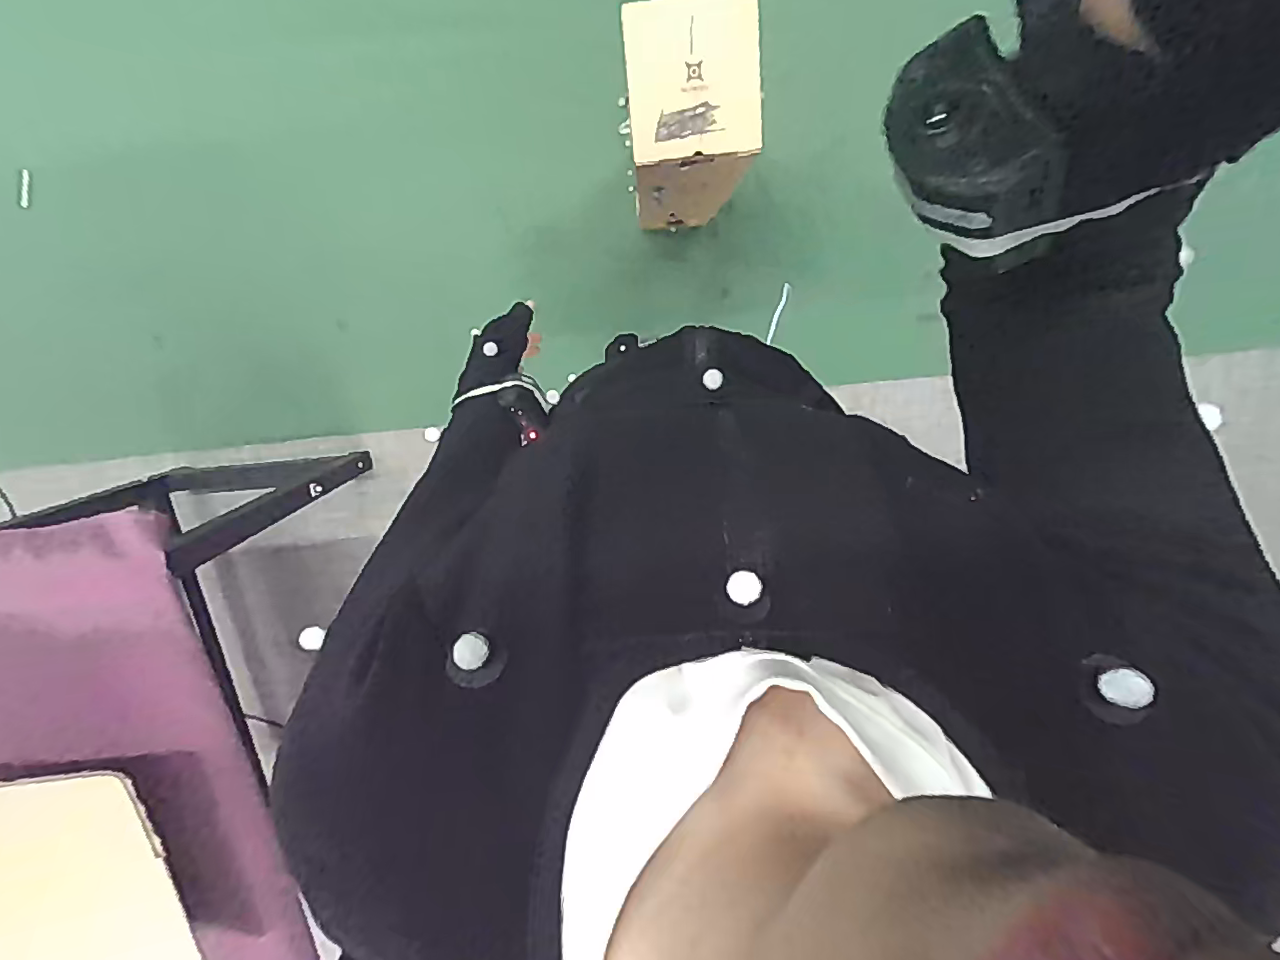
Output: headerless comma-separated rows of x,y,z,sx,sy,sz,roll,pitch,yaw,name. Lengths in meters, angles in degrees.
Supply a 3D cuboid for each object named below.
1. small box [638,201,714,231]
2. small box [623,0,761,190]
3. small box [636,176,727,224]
0.077,-0.673,1.216,0.168,0.176,0.179,-3,107,3,small box
0.069,-0.516,0.749,0.168,0.176,0.179,-5,106,2,small box
0.075,-0.619,1.062,0.168,0.176,0.179,-6,107,2,small box
